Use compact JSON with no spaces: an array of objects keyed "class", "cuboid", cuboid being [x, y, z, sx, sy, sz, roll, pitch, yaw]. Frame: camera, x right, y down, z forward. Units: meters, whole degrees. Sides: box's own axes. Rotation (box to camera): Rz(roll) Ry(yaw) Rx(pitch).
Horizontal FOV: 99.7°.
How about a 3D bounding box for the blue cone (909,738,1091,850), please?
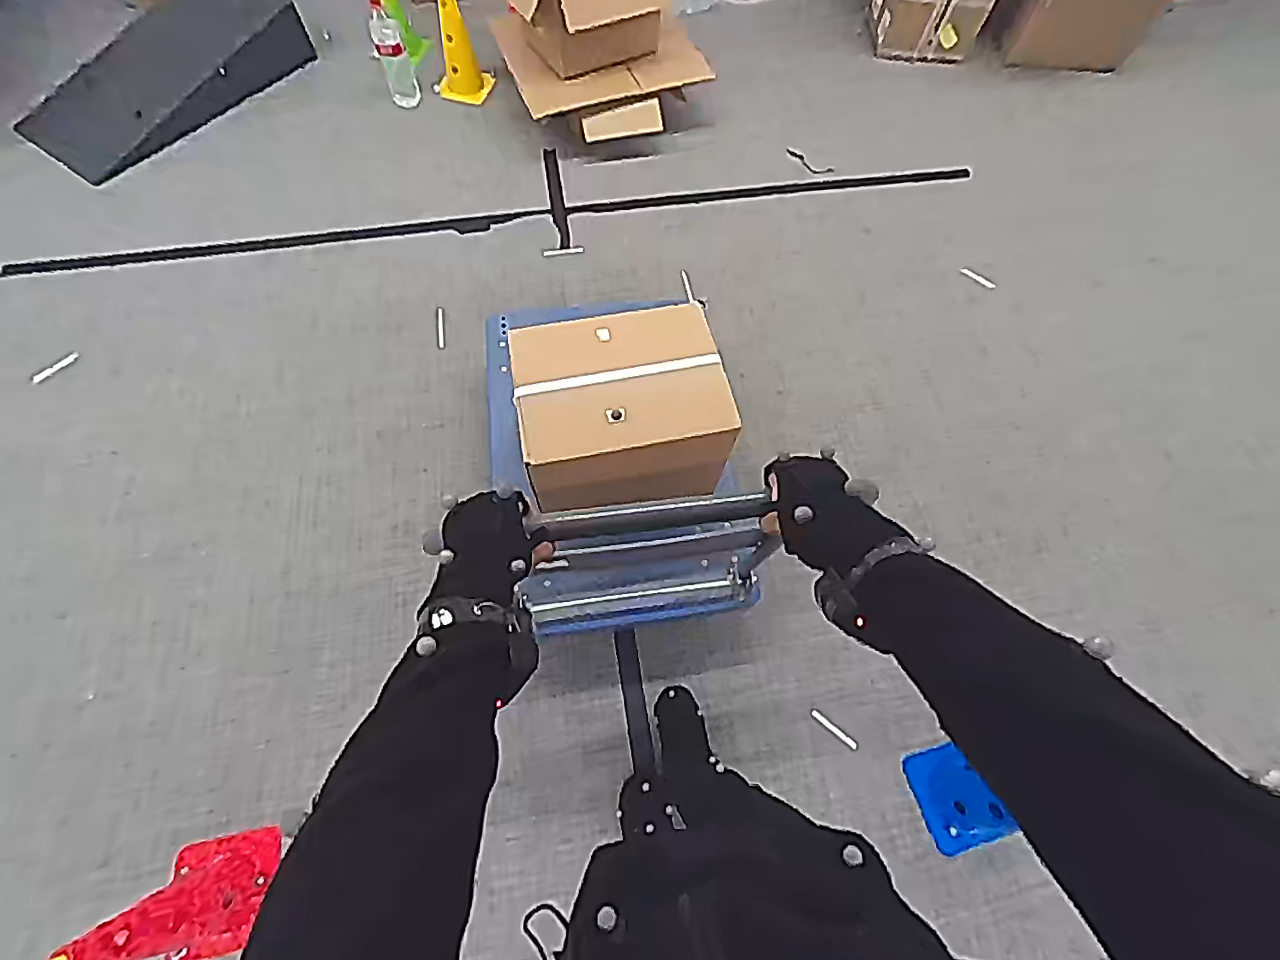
[{"class":"blue cone","cuboid":[0.722,0.625,1.052,0.193,0.380,0.192,-12,65,-8]}]
